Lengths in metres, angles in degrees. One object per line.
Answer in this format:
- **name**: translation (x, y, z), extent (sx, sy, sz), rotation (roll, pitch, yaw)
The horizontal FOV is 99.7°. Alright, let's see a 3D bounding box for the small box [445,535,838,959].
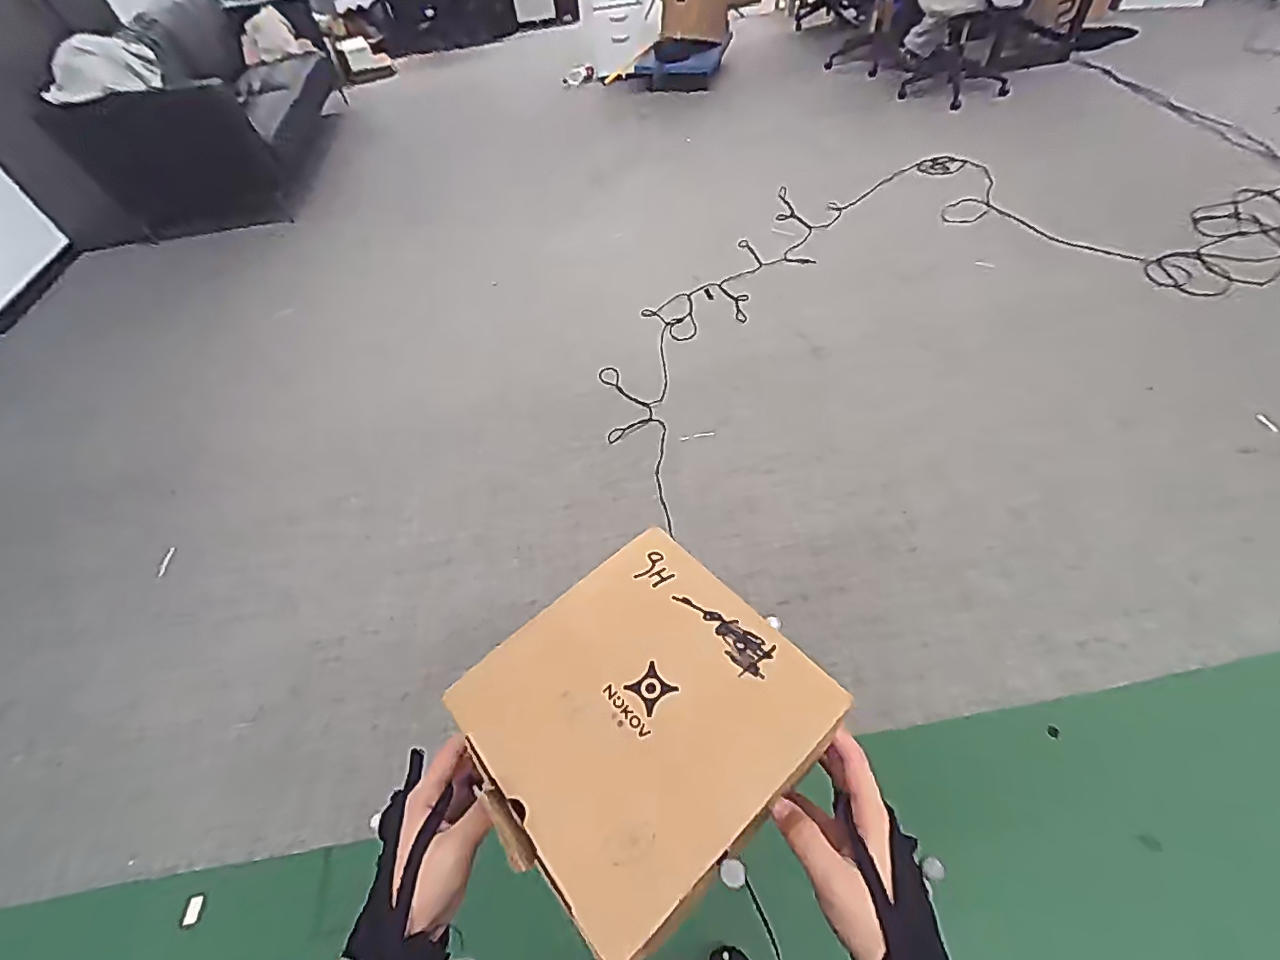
- **small box**: translation (0.006, 0.180, 0.373), extent (0.179, 0.176, 0.168), rotation (-37, 55, -20)
